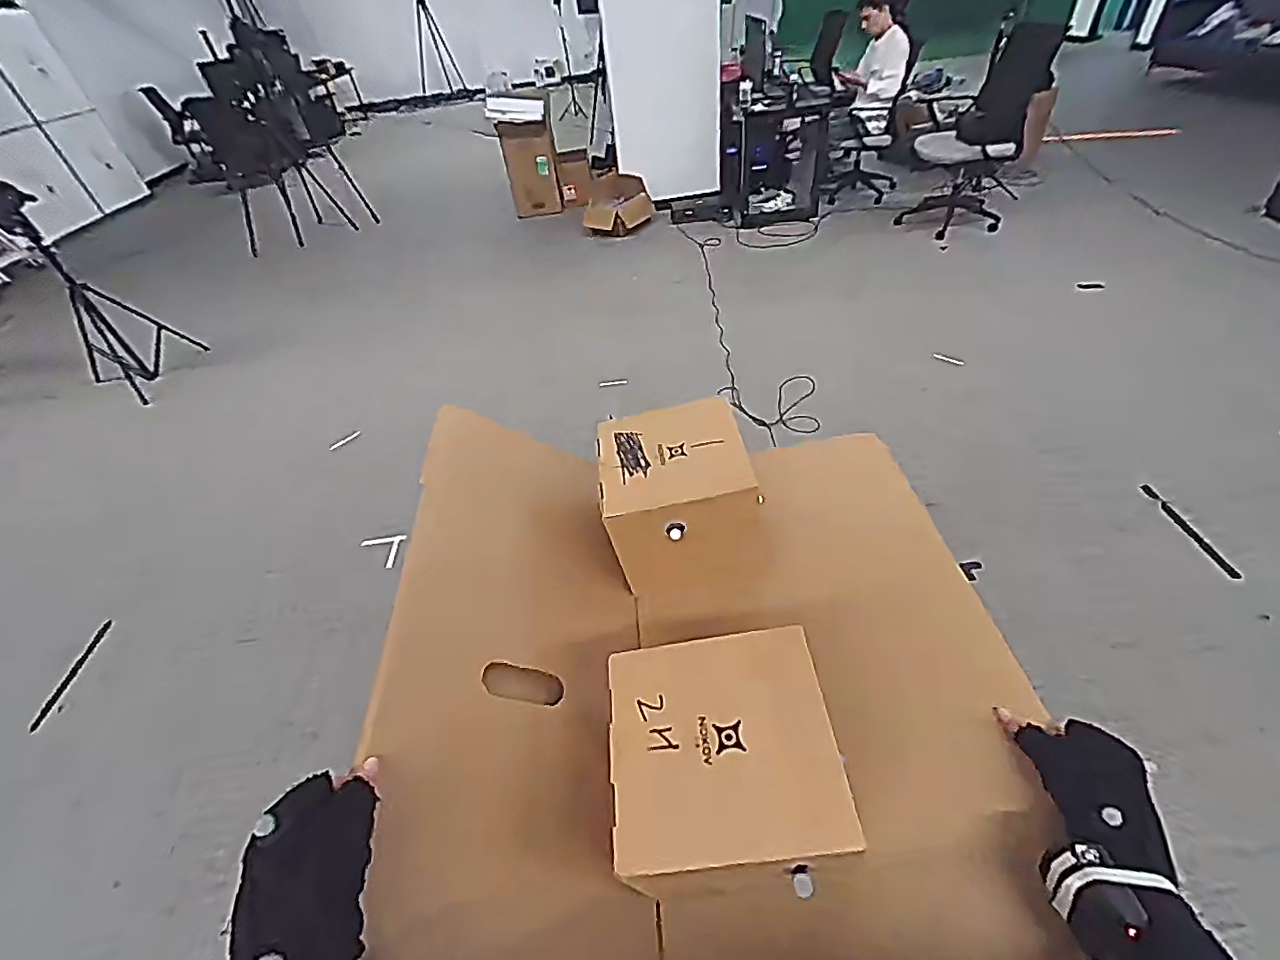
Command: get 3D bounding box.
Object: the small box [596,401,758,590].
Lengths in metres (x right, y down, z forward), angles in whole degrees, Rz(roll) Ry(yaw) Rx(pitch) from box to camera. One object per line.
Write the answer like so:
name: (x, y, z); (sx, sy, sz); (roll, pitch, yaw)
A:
small box: (0.049, 0.026, 0.712); (0.179, 0.176, 0.168); (-12, 46, 4)

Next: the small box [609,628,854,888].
small box: (0.076, 0.257, 0.493); (0.179, 0.176, 0.168); (-11, 46, 7)
